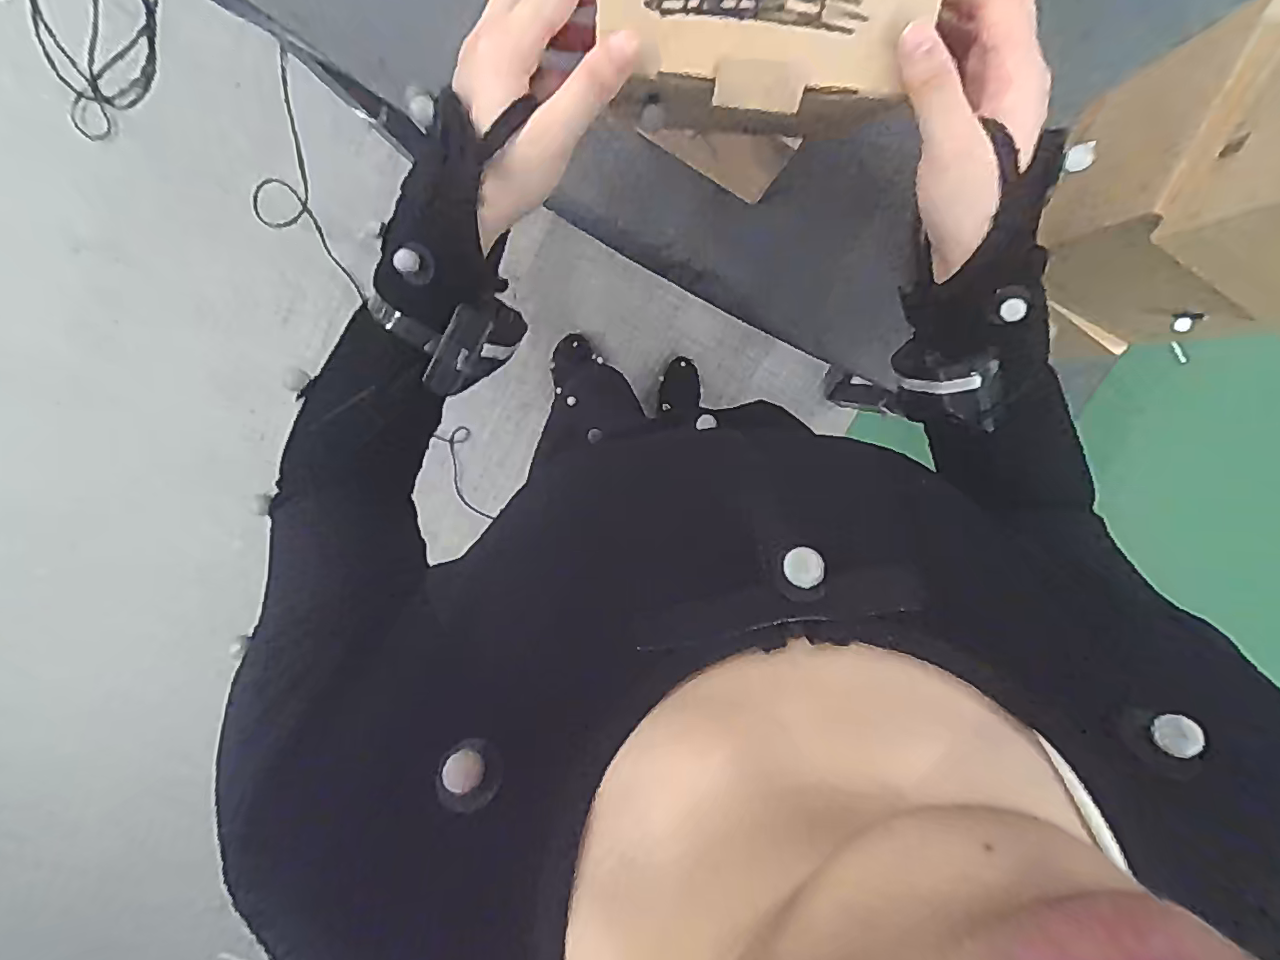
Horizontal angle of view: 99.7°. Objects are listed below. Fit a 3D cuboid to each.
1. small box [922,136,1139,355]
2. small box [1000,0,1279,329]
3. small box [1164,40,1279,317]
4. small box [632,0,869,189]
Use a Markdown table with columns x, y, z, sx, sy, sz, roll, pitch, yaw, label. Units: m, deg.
| x | y | z | sx | sy | sz | roll | pitch | yaw | label |
| --- | --- | --- | --- | --- | --- | --- | --- | --- | --- |
| 0.462 | -0.259 | 0.606 | 0.168 | 0.176 | 0.179 | 32 | 98 | -6 | small box |
| 0.458 | -0.238 | 0.444 | 0.179 | 0.176 | 0.168 | 25 | 97 | -5 | small box |
| 0.464 | -0.185 | 0.286 | 0.179 | 0.176 | 0.168 | 30 | 96 | -6 | small box |
| 0.104 | -0.443 | 0.564 | 0.179 | 0.176 | 0.168 | 29 | 99 | -6 | small box |
